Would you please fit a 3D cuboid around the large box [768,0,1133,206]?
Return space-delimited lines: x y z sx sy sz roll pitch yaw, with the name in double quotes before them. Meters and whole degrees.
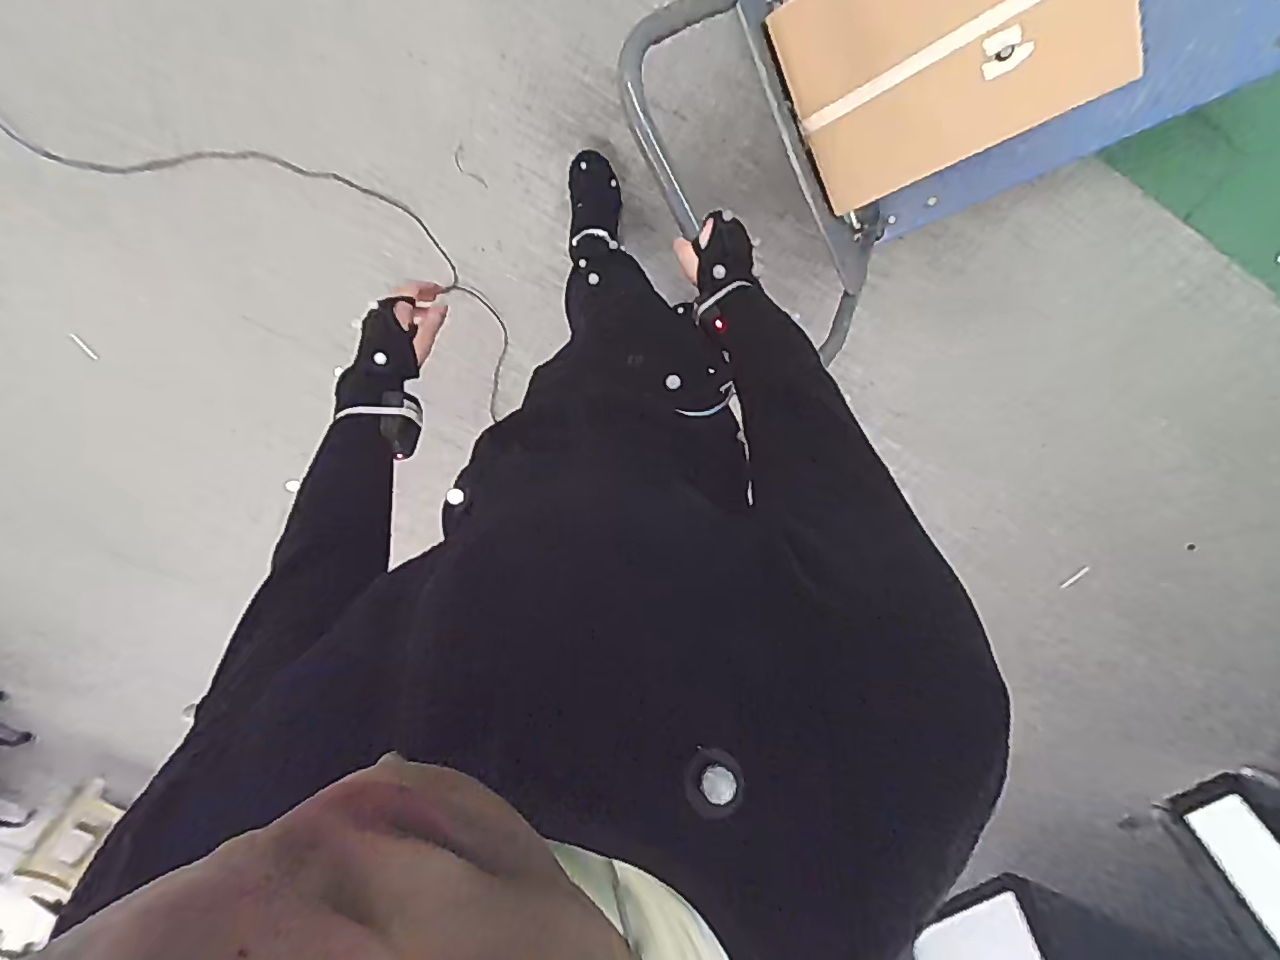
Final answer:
"large box" 0.469 -0.718 0.863 0.408 0.320 0.320 -13 125 34
